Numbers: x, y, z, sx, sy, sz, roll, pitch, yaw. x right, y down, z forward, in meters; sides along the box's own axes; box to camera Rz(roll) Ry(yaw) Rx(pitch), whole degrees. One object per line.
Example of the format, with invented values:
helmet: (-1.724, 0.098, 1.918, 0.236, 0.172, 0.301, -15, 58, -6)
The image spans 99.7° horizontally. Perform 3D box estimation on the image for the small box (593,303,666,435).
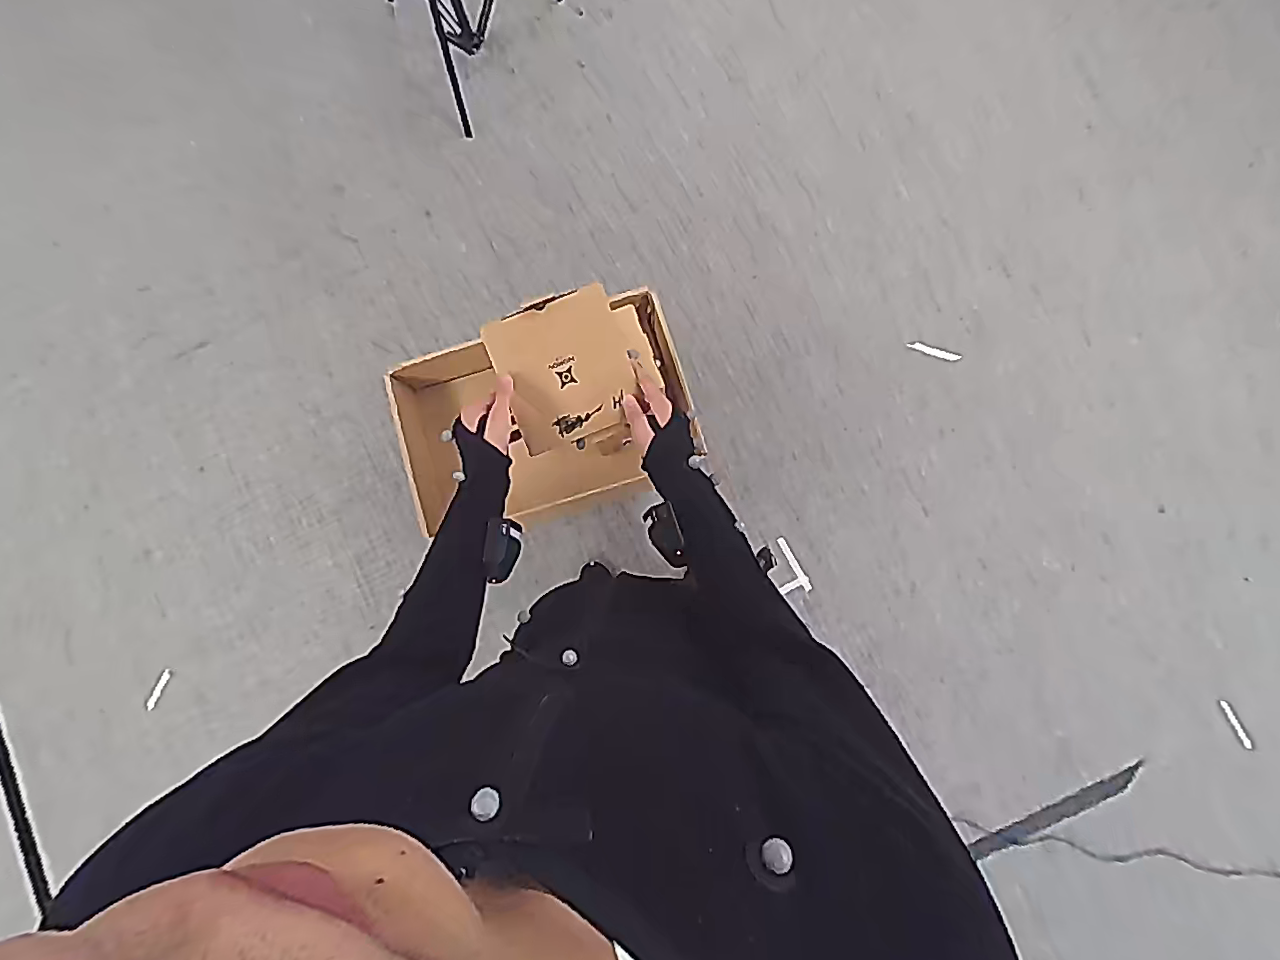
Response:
small box: (-0.058, -0.197, 1.016, 0.179, 0.176, 0.168, -20, 83, 1)

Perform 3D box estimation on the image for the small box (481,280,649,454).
small box: (-0.094, -0.148, 0.751, 0.168, 0.176, 0.179, -20, 97, 3)
